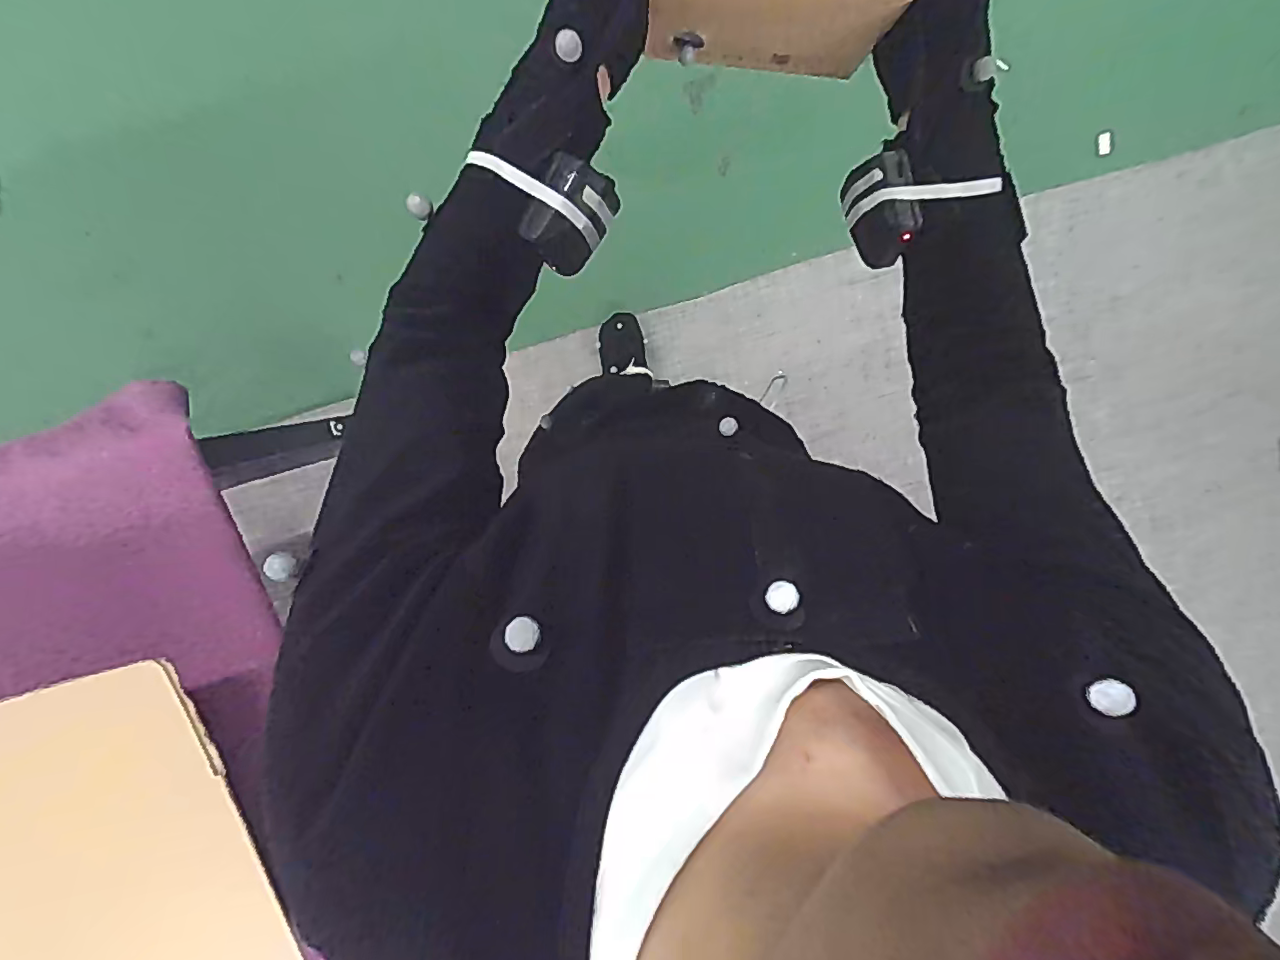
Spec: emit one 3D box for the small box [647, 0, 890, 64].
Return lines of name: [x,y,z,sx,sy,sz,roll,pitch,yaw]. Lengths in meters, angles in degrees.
small box: [0.093,-0.395,0.327,0.168,0.176,0.179,4,102,-3]
